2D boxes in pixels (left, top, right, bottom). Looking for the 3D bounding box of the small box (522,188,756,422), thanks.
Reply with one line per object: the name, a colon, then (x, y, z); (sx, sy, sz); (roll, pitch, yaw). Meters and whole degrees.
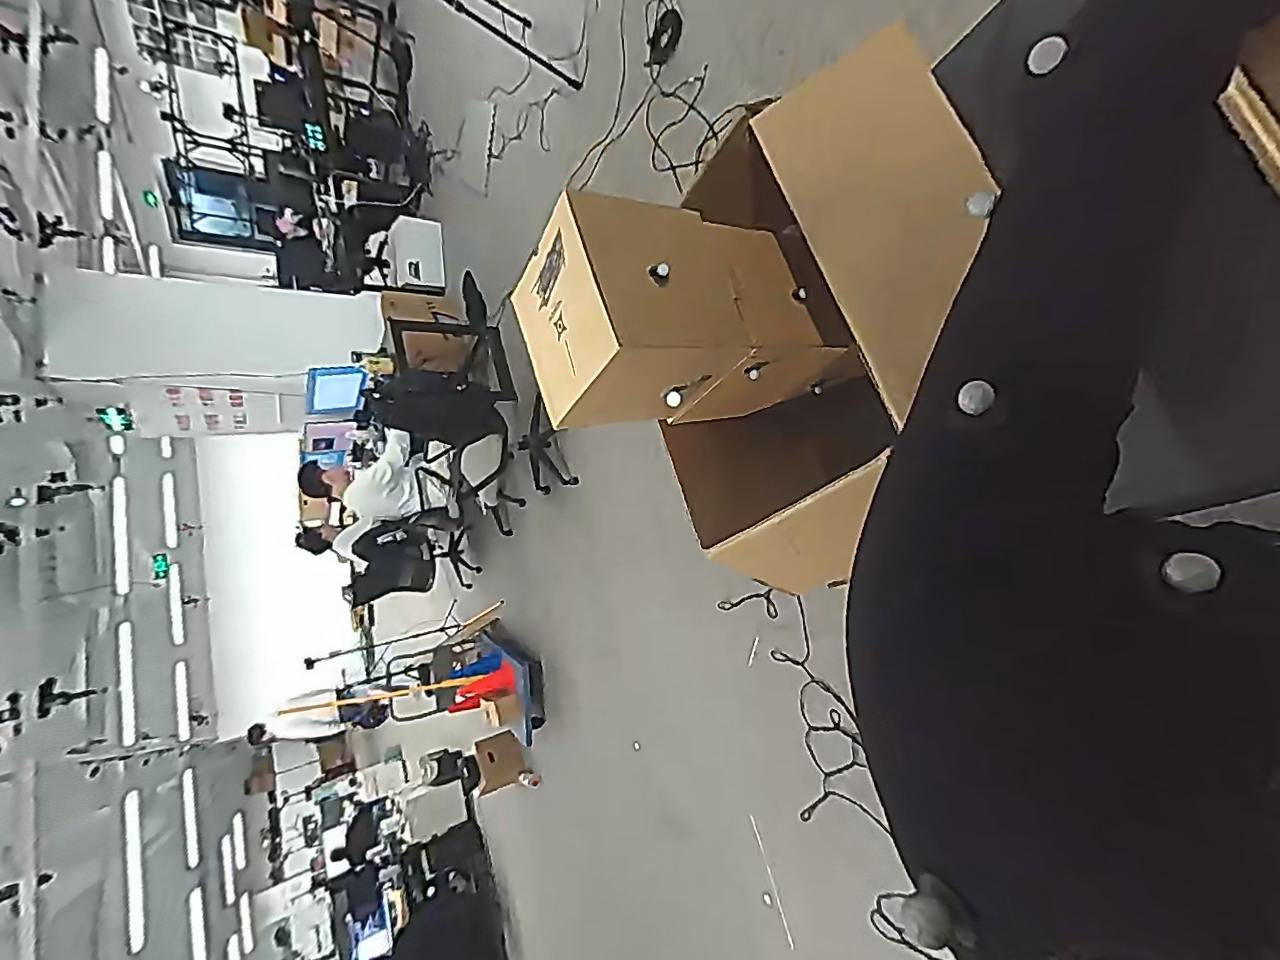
small box: (-0.006, -0.180, 0.598); (0.168, 0.176, 0.179); (-37, 69, 53)
